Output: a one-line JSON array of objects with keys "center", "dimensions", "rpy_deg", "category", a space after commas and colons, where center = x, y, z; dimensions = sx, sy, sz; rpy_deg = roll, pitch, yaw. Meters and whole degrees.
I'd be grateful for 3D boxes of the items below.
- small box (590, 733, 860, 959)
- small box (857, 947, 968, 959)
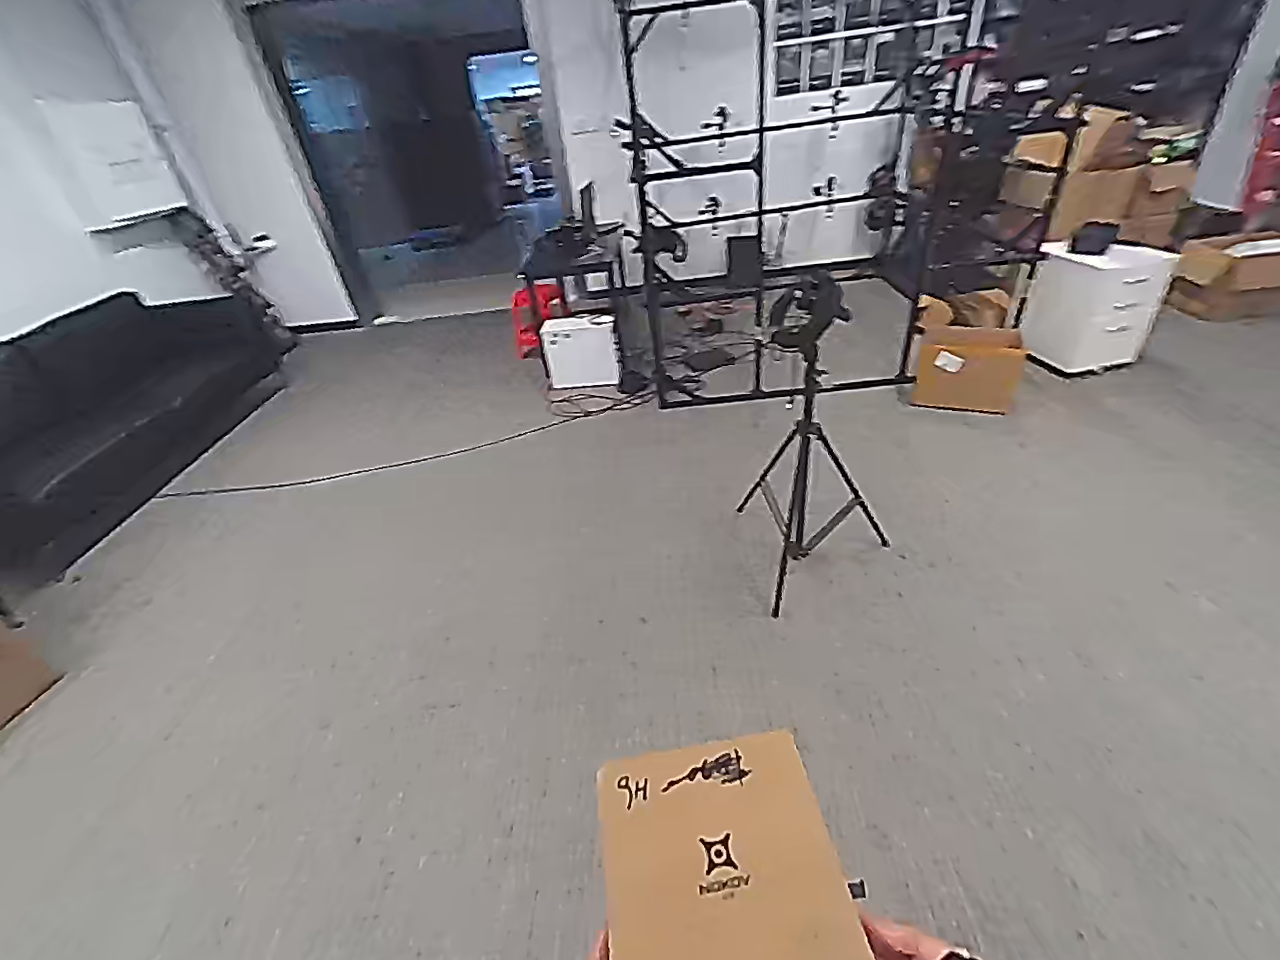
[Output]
[{"center": [0.058, 0.337, 0.431], "dimensions": [0.168, 0.176, 0.179], "rpy_deg": [-9, 40, -4], "category": "small box"}, {"center": [0.418, 0.836, 0.804], "dimensions": [0.168, 0.176, 0.179], "rpy_deg": [-4, 35, 6], "category": "small box"}]
